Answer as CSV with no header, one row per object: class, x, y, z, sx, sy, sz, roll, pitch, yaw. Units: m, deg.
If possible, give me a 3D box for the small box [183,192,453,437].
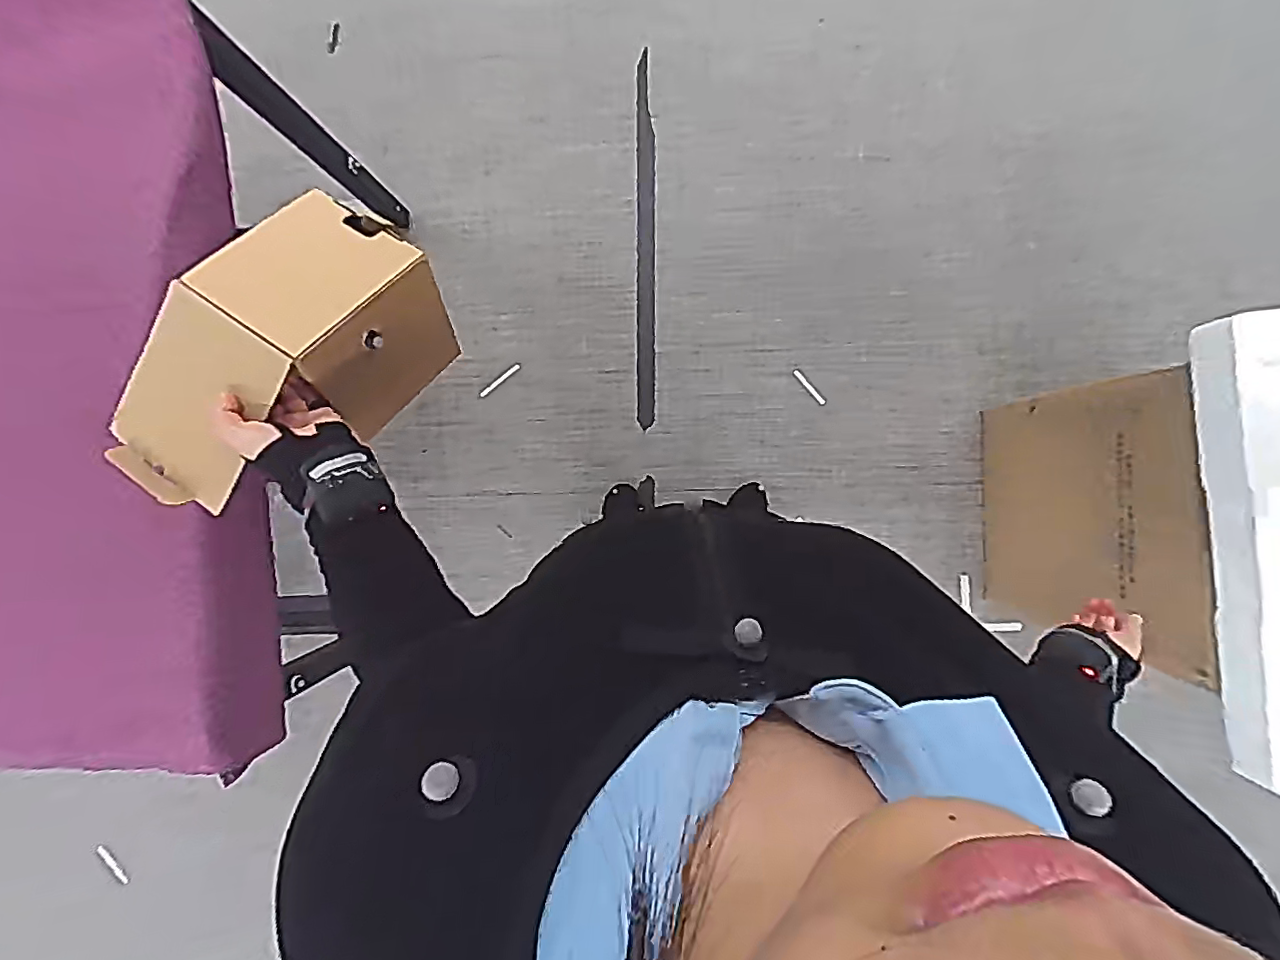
small box,-0.347,-0.181,0.625,0.168,0.176,0.179,33,67,11
